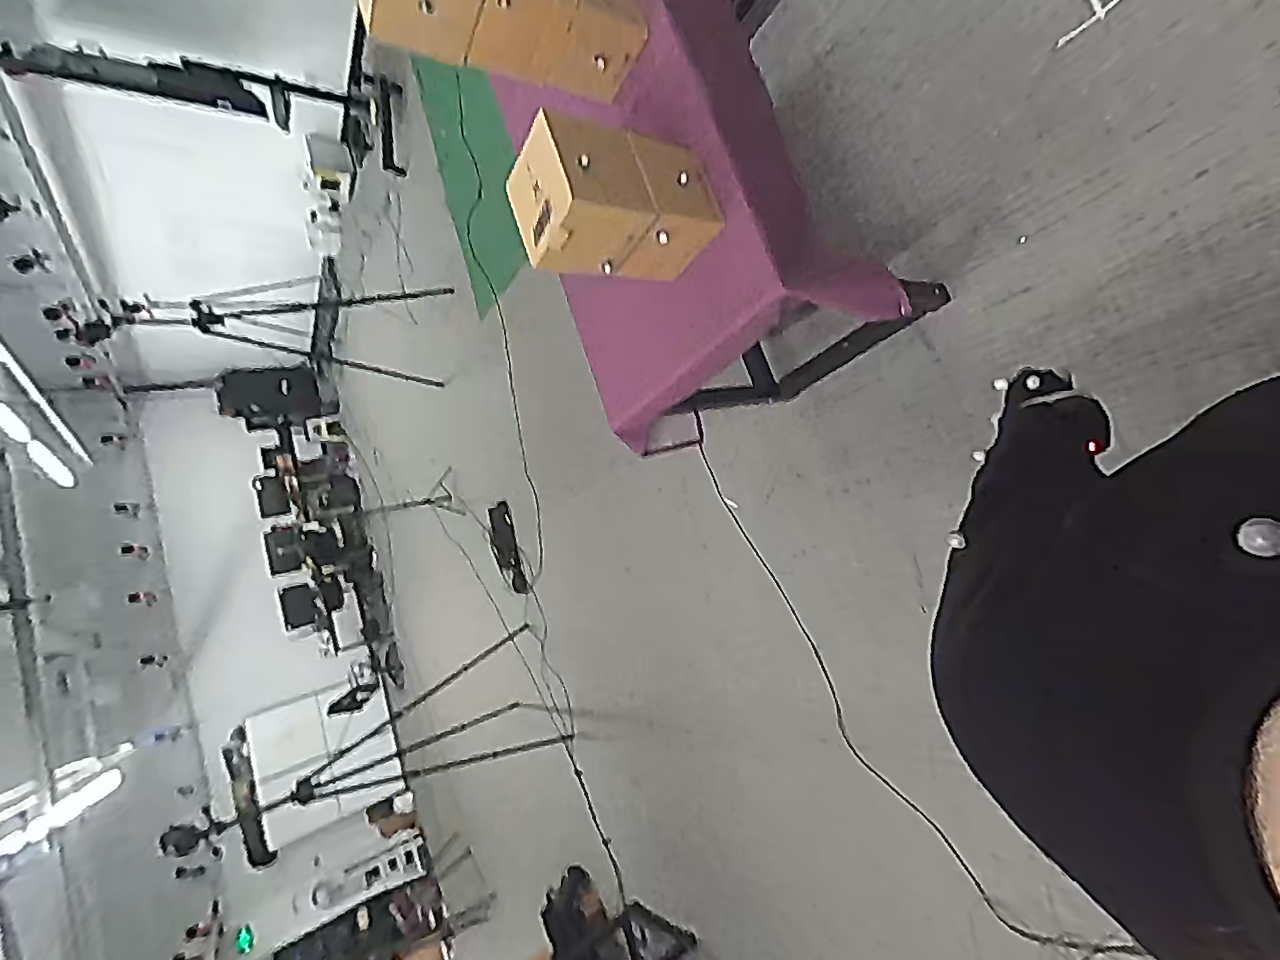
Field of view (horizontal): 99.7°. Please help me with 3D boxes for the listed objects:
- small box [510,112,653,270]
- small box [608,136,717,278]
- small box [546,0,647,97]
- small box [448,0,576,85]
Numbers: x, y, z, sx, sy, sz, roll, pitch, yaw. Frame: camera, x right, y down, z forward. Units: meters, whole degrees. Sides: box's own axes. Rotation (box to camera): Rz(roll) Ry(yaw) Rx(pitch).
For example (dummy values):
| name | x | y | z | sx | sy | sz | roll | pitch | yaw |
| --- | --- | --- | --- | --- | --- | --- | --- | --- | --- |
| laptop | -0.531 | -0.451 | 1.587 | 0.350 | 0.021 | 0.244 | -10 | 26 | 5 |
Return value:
| name | x | y | z | sx | sy | sz | roll | pitch | yaw |
| --- | --- | --- | --- | --- | --- | --- | --- | --- | --- |
| small box | -0.101 | -0.486 | 0.941 | 0.168 | 0.176 | 0.179 | -32 | 73 | 51 |
| small box | 0.027 | -0.512 | 1.041 | 0.179 | 0.176 | 0.168 | -32 | 73 | 52 |
| small box | -0.111 | -0.932 | 1.114 | 0.168 | 0.176 | 0.179 | -33 | 73 | 51 |
| small box | -0.241 | -0.901 | 1.020 | 0.179 | 0.176 | 0.168 | -31 | 74 | 51 |
